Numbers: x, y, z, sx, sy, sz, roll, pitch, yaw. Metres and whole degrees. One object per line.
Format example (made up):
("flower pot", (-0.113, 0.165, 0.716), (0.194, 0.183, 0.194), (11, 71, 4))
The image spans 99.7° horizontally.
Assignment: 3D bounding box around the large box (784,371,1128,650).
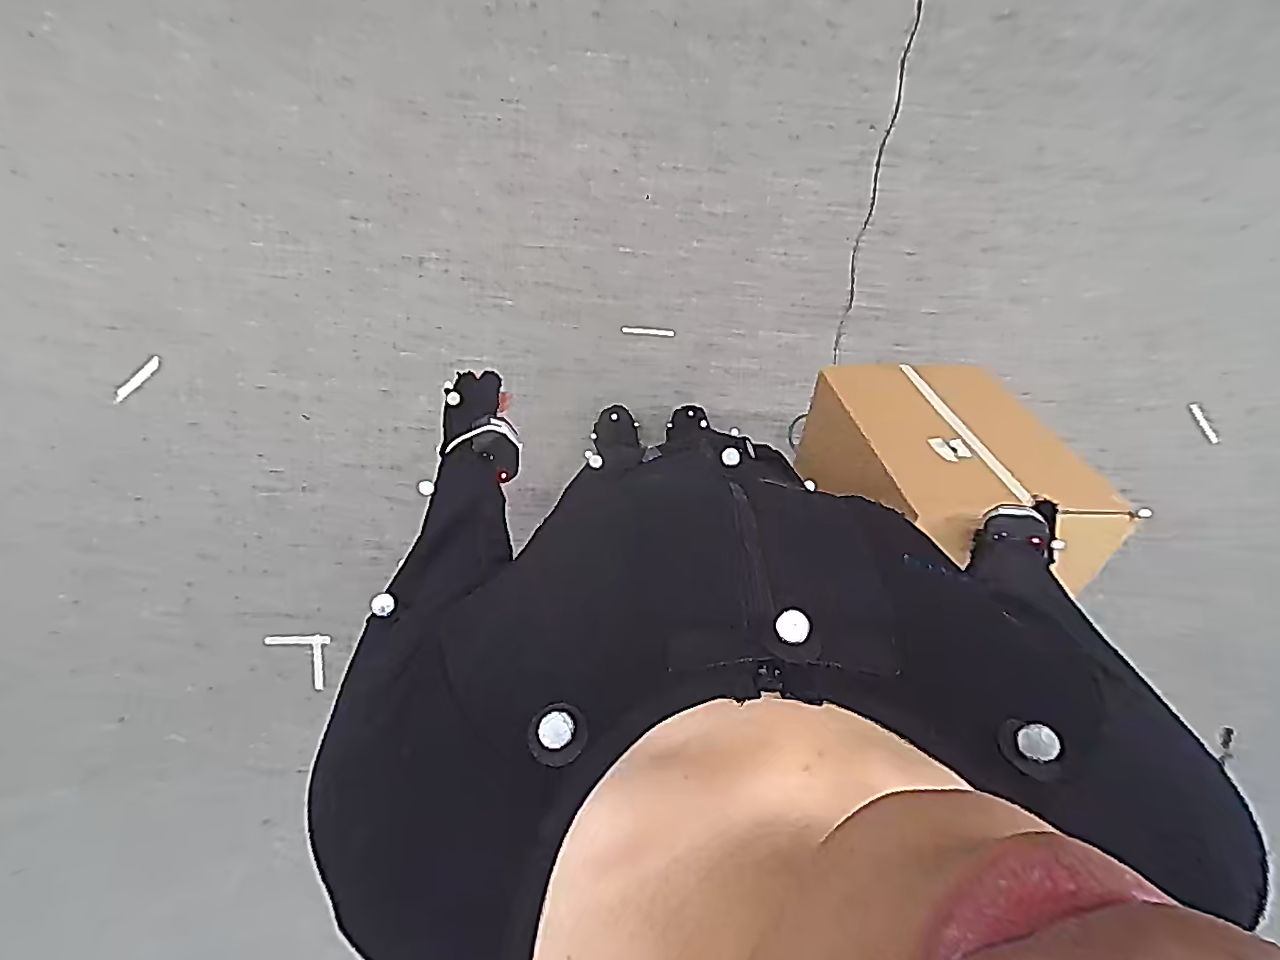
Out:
("large box", (0.490, 0.042, 0.965), (0.320, 0.408, 0.320), (-1, 131, -5))
